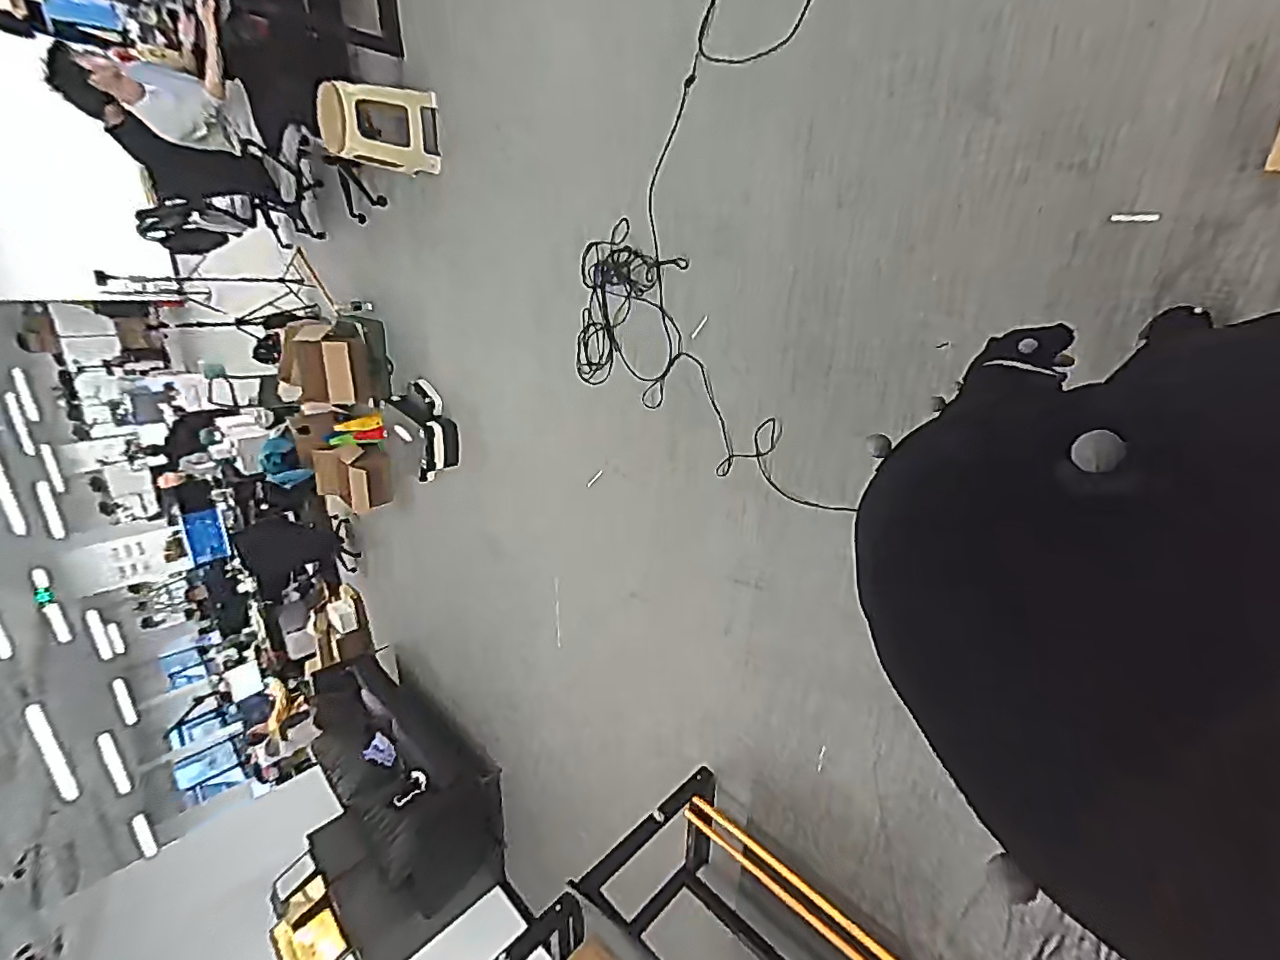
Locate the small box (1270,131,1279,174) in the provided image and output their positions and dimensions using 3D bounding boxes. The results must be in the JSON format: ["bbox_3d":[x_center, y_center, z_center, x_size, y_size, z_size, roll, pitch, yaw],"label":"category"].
[{"bbox_3d":[1.082,-0.566,0.795,0.168,0.176,0.179,22,119,41],"label":"small box"}]
